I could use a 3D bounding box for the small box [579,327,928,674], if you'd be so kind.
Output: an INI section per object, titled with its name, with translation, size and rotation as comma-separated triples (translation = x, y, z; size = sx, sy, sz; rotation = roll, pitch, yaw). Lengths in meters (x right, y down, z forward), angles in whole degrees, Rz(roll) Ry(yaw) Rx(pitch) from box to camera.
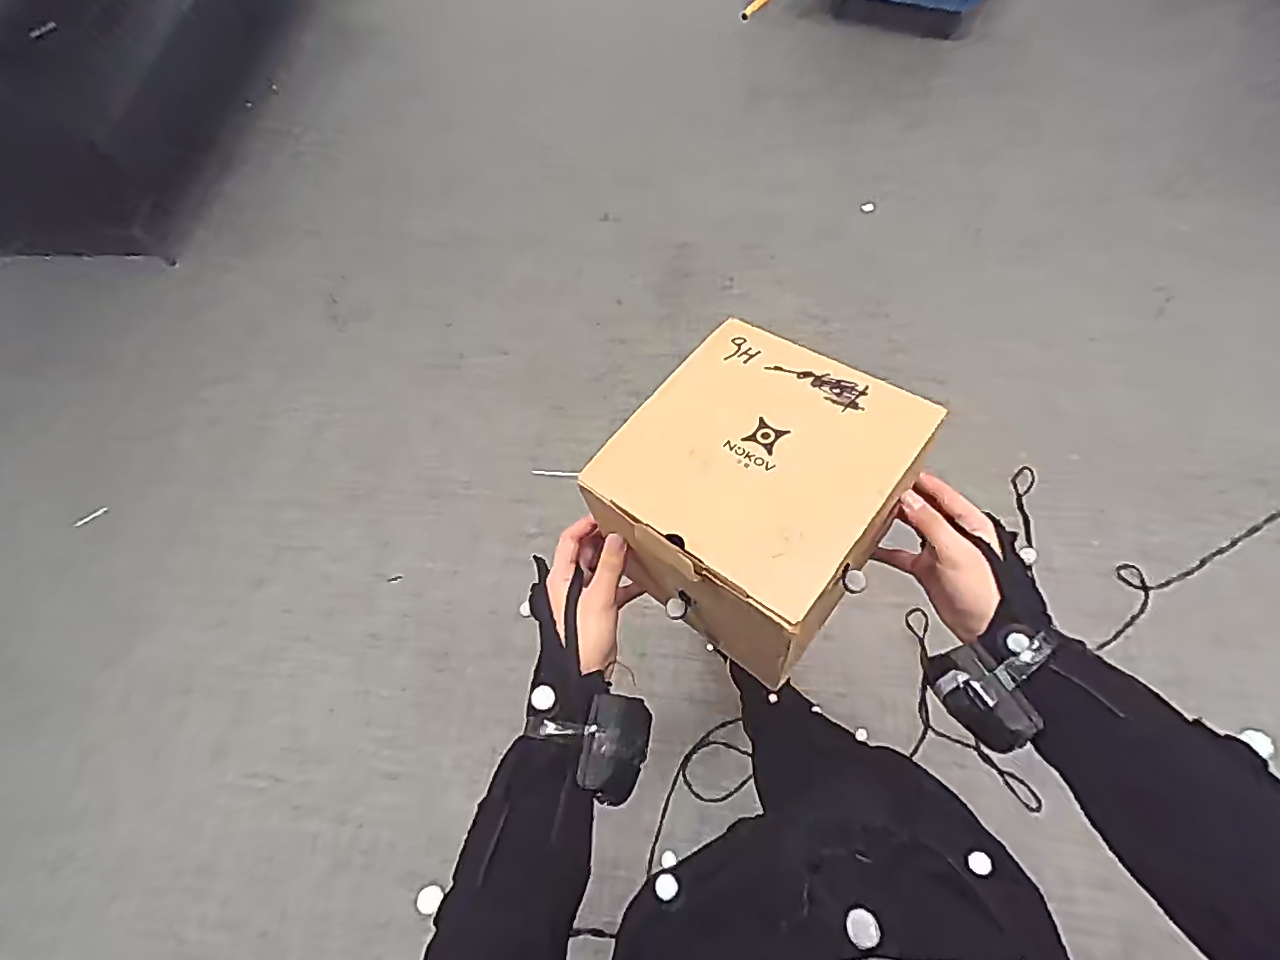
[small box]
translation = 0.086, 0.023, 0.422
size = 0.168, 0.176, 0.179
rotation = 33, 70, 27
